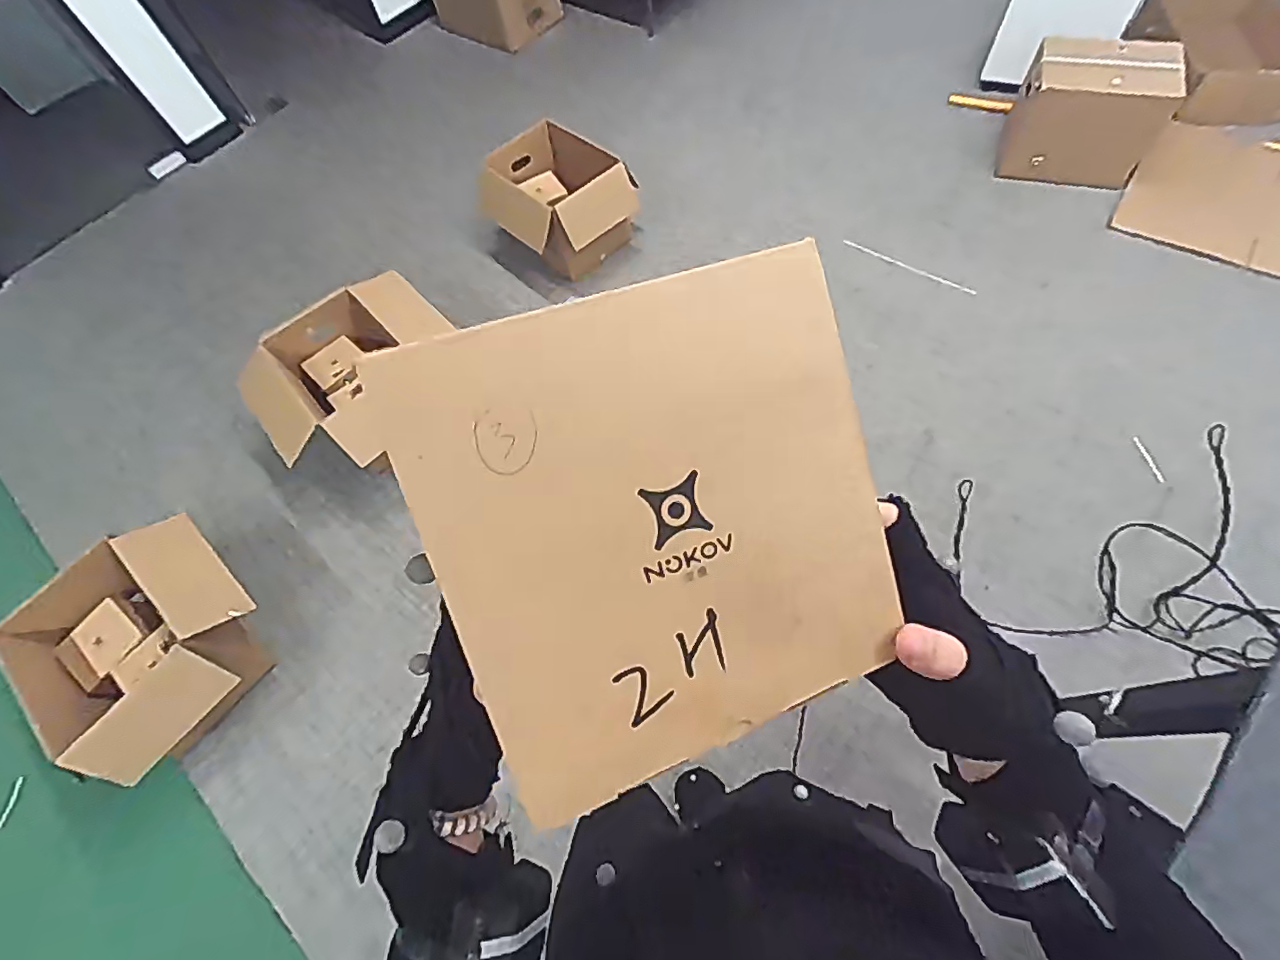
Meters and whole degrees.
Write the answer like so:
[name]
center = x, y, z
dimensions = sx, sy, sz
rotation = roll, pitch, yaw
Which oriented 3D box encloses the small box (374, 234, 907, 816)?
[small box]
center = -0.007, 0.007, 0.272
dimensions = 0.168, 0.176, 0.179
rotation = -19, 100, -13
